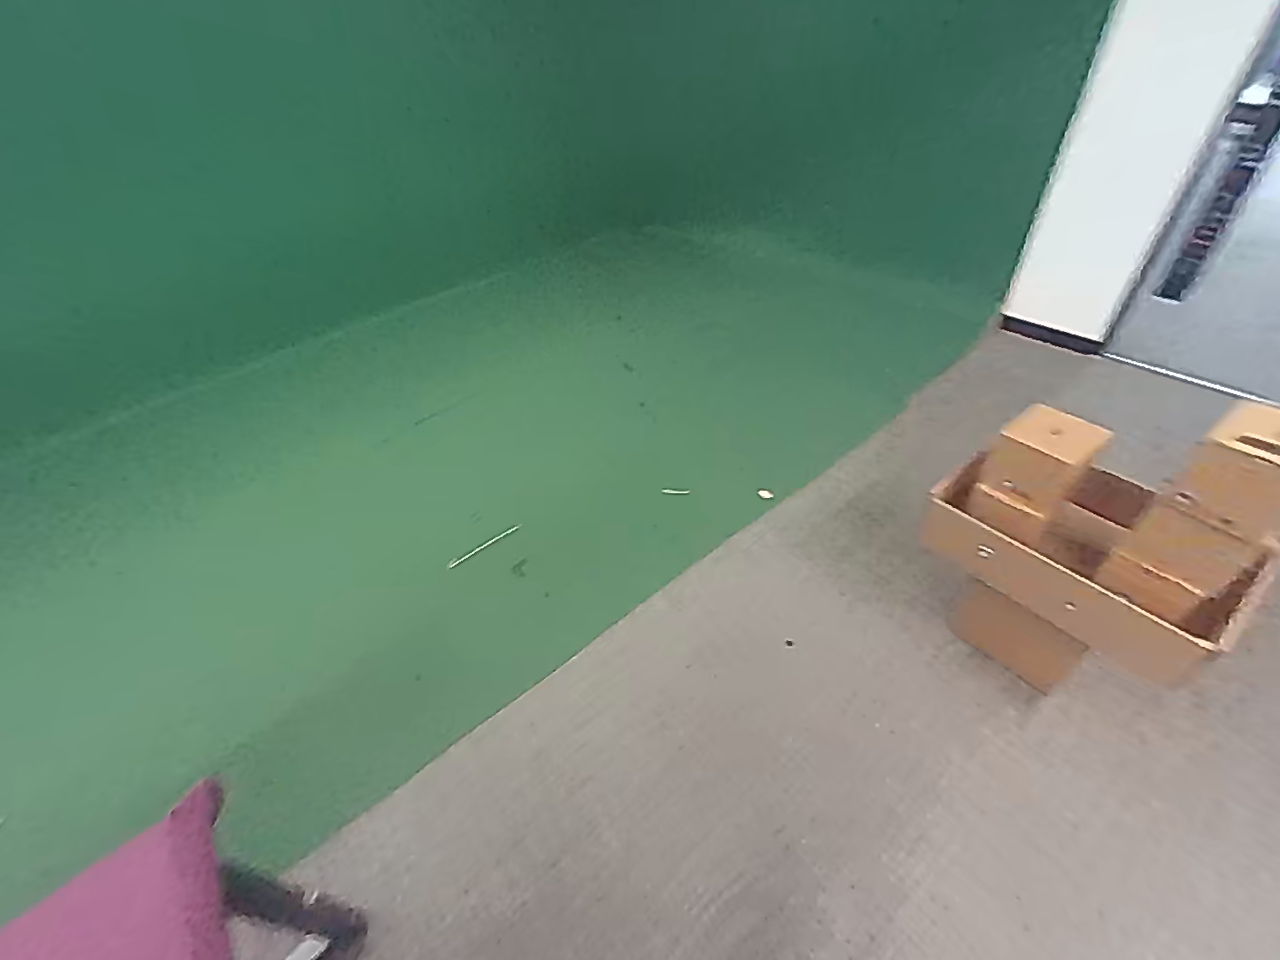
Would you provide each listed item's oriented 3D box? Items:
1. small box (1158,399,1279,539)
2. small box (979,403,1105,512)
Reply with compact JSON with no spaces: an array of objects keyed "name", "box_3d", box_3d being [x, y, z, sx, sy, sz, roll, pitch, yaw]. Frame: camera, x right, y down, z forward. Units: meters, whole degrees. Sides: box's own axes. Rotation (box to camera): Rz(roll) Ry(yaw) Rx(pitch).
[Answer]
[{"name":"small box","box_3d":[1.149,-0.020,1.028,0.179,0.176,0.168,-29,48,-22]},{"name":"small box","box_3d":[0.979,-0.055,1.332,0.179,0.176,0.168,-30,46,-21]}]
